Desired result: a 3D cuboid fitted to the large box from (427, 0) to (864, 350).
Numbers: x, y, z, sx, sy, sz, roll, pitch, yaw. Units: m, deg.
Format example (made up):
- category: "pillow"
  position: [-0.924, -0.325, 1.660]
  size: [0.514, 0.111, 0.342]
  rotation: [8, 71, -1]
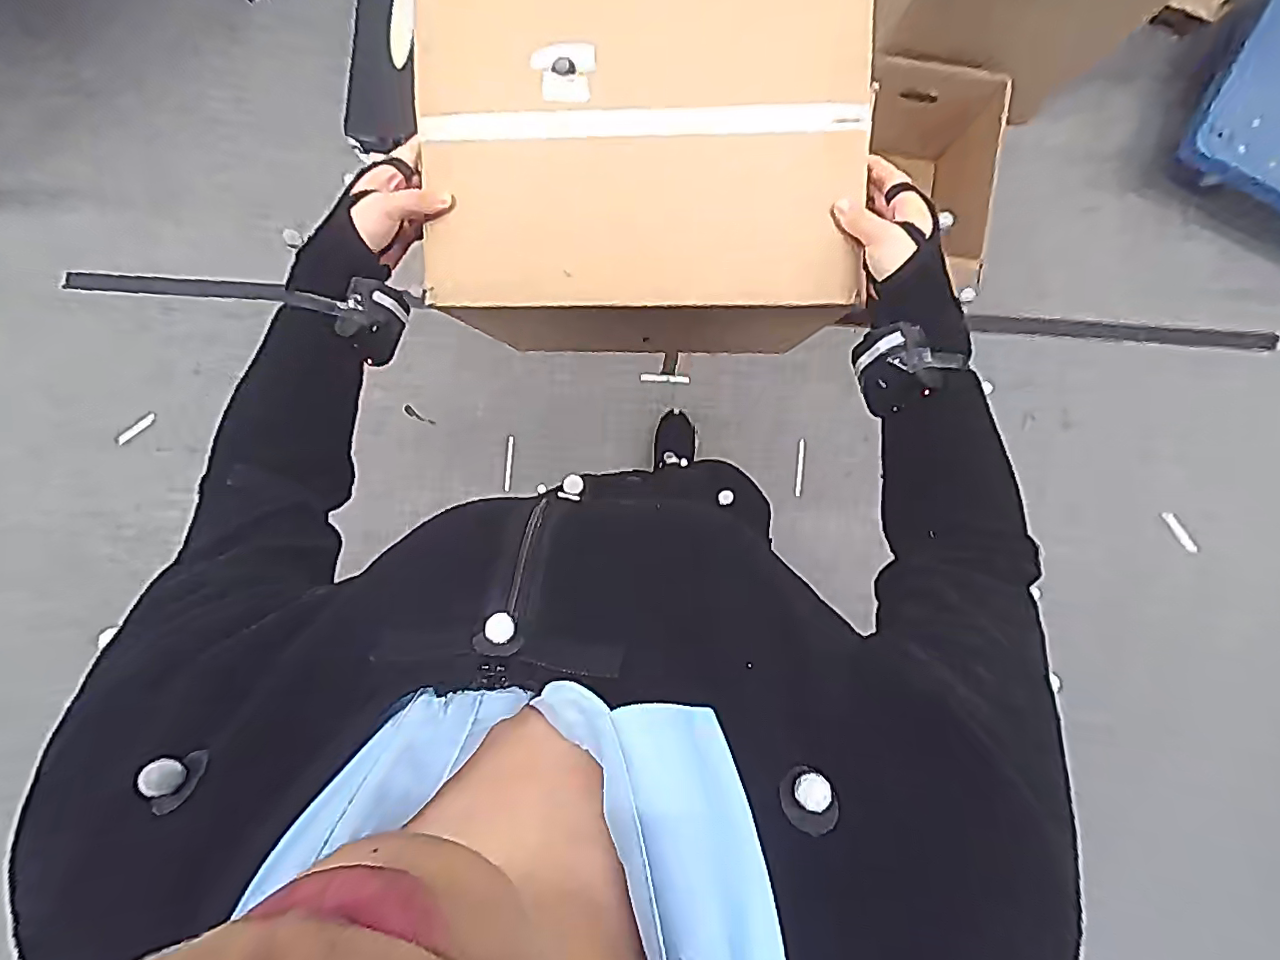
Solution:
- category: "large box"
  position: [0.014, -0.334, 0.645]
  size: [0.408, 0.320, 0.320]
  rotation: [0, 94, 4]
